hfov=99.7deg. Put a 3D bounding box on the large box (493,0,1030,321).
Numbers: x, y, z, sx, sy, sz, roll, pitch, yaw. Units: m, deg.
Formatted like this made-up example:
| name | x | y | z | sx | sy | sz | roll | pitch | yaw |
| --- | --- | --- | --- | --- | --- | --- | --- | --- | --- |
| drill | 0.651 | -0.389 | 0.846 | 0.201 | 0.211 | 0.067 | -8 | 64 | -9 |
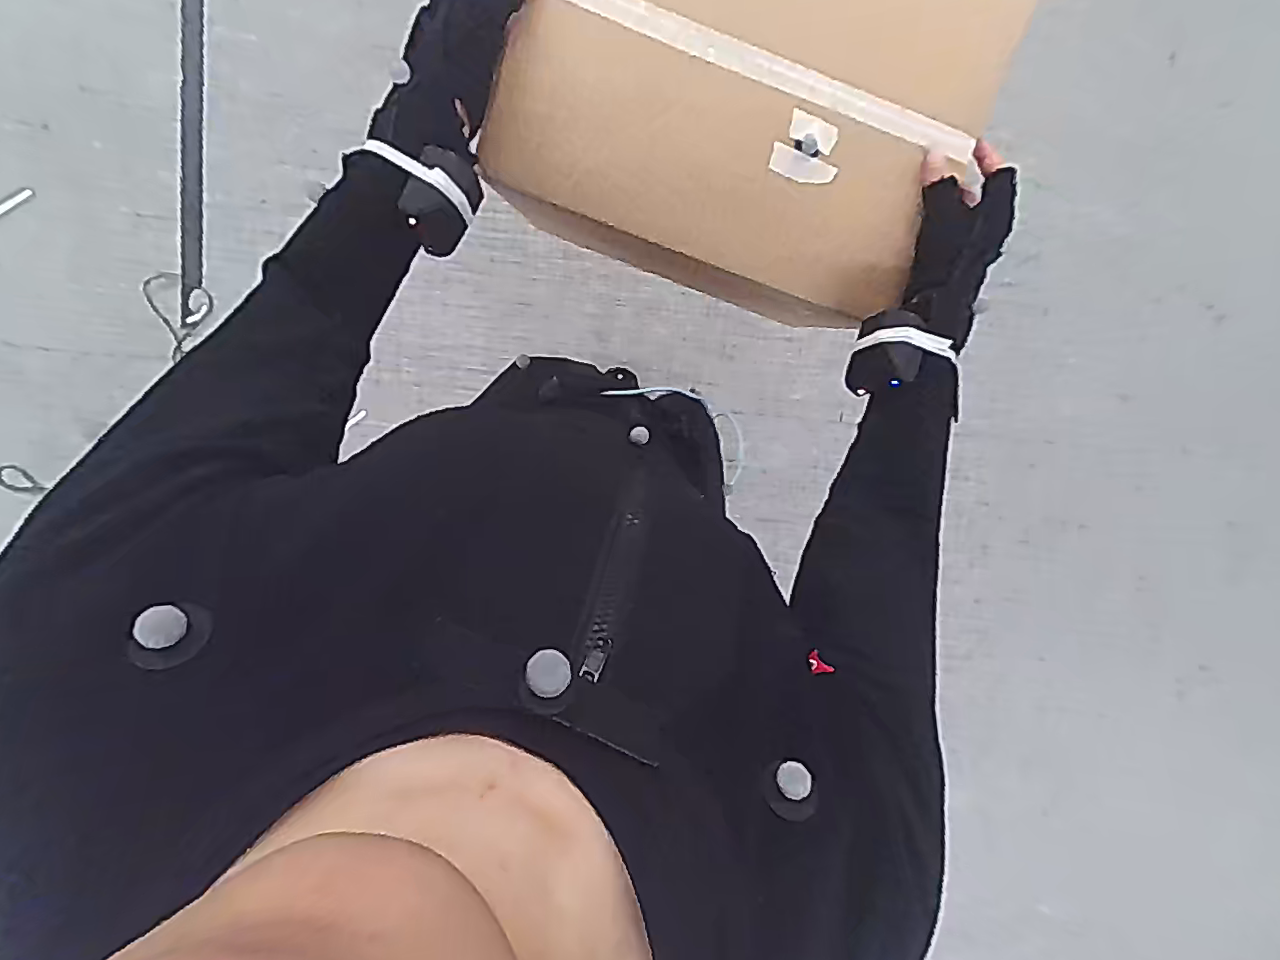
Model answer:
| name | x | y | z | sx | sy | sz | roll | pitch | yaw |
| --- | --- | --- | --- | --- | --- | --- | --- | --- | --- |
| large box | 0.097 | -0.394 | 0.609 | 0.408 | 0.320 | 0.320 | 19 | 107 | -6 |
